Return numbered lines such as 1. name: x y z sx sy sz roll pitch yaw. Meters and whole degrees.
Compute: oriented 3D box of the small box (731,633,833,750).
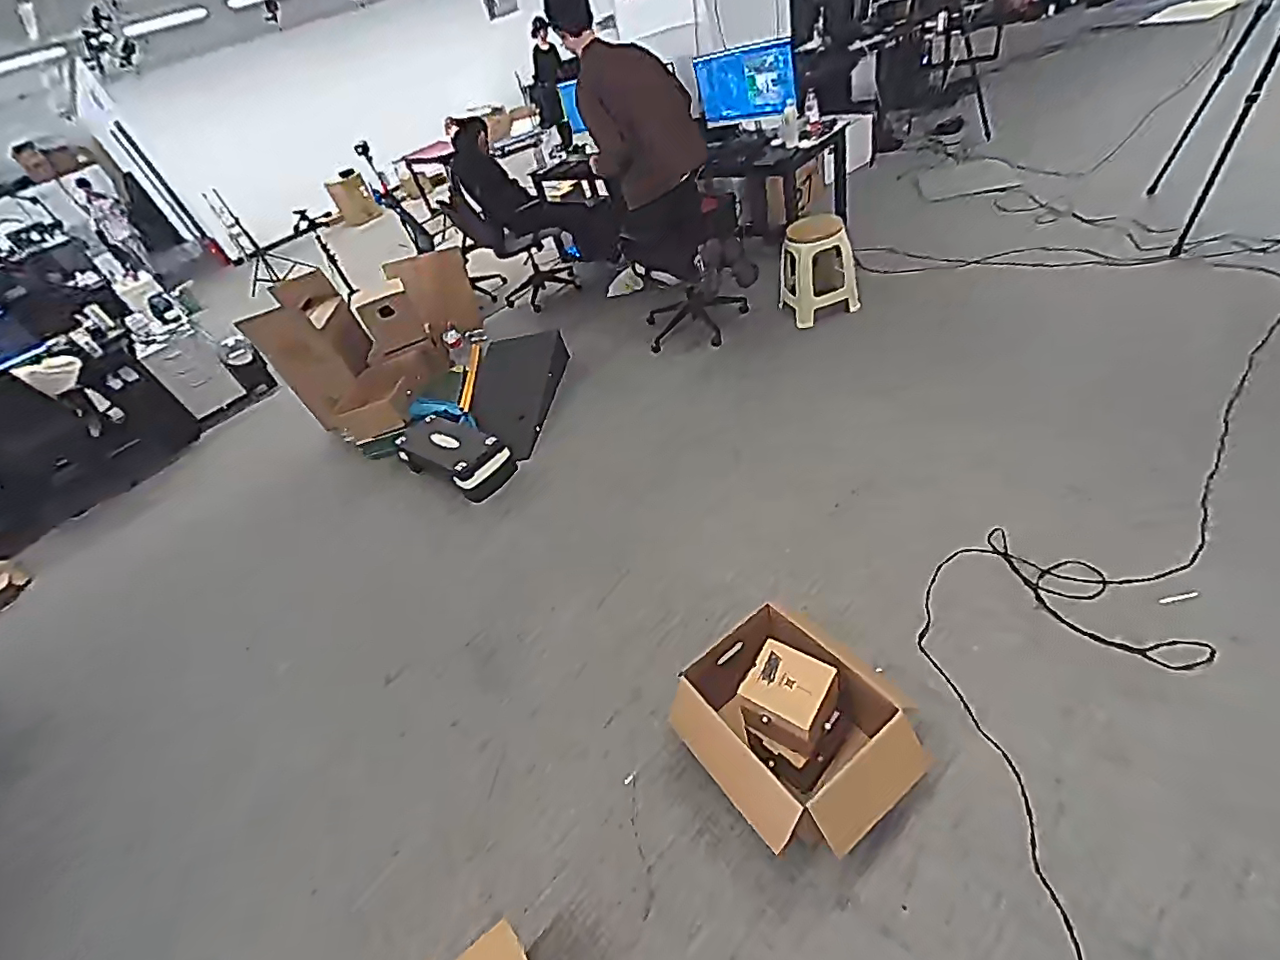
1. small box: 0.347 0.511 1.300 0.179 0.176 0.168 21 56 38
